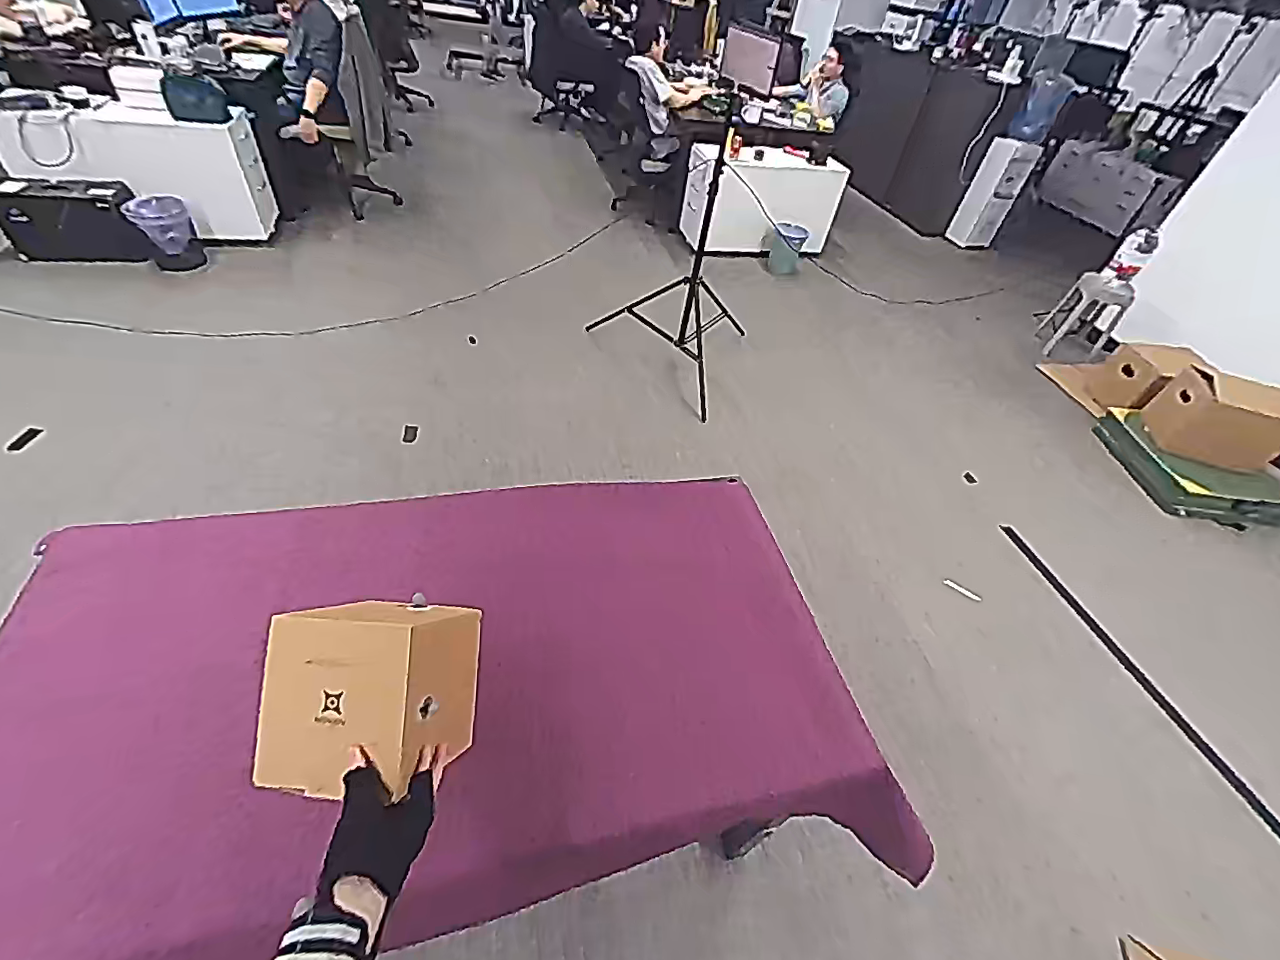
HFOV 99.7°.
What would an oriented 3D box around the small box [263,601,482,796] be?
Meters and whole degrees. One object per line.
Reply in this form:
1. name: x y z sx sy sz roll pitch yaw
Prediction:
1. small box: -0.301 0.242 0.643 0.168 0.176 0.179 -1 82 8
